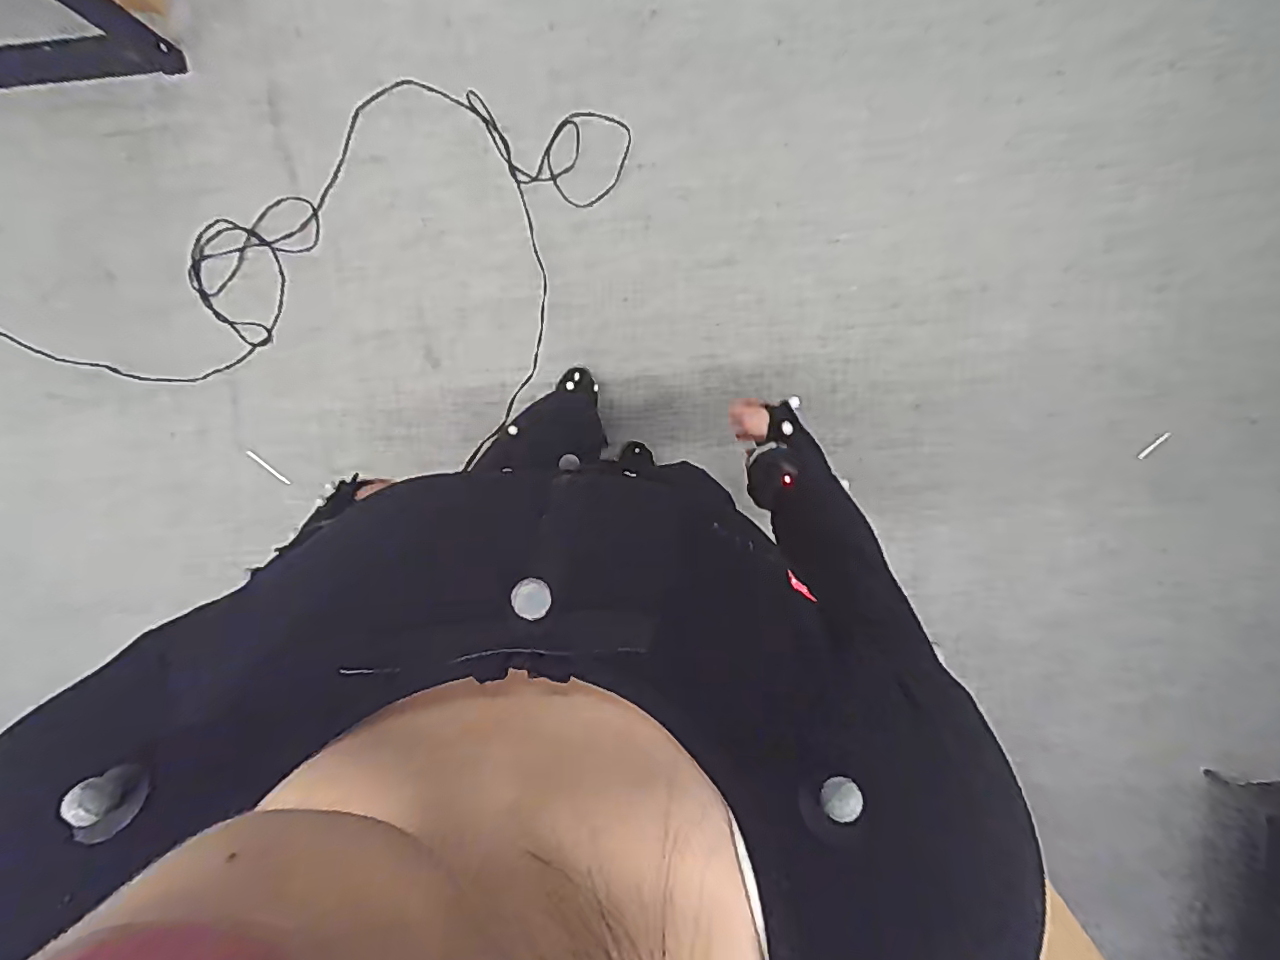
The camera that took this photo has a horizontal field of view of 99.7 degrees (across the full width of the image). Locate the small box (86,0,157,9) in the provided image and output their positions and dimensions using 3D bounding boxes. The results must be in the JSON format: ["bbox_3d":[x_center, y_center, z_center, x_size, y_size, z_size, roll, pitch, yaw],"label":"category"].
[{"bbox_3d":[-1.246,-1.219,1.230,0.179,0.176,0.168,0,99,1],"label":"small box"}]
